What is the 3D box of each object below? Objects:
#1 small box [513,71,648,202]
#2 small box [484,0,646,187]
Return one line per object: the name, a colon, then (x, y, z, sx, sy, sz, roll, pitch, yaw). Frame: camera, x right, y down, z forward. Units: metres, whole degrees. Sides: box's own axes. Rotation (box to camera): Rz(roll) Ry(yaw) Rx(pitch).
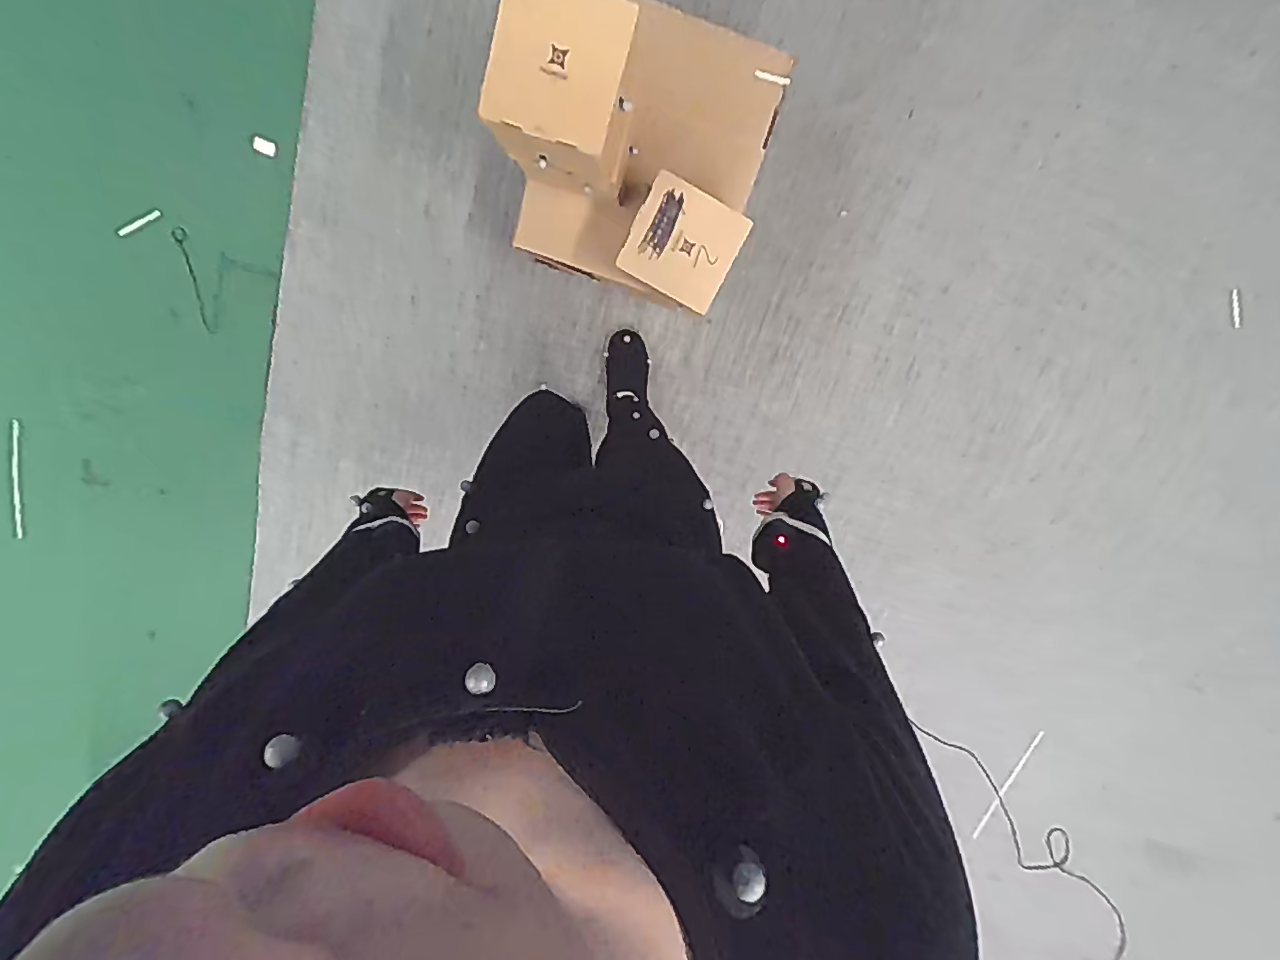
small box: (-0.092, -0.588, 0.907, 0.179, 0.176, 0.168, 16, 105, -4)
small box: (-0.097, -0.542, 0.751, 0.168, 0.176, 0.179, 18, 106, -5)
